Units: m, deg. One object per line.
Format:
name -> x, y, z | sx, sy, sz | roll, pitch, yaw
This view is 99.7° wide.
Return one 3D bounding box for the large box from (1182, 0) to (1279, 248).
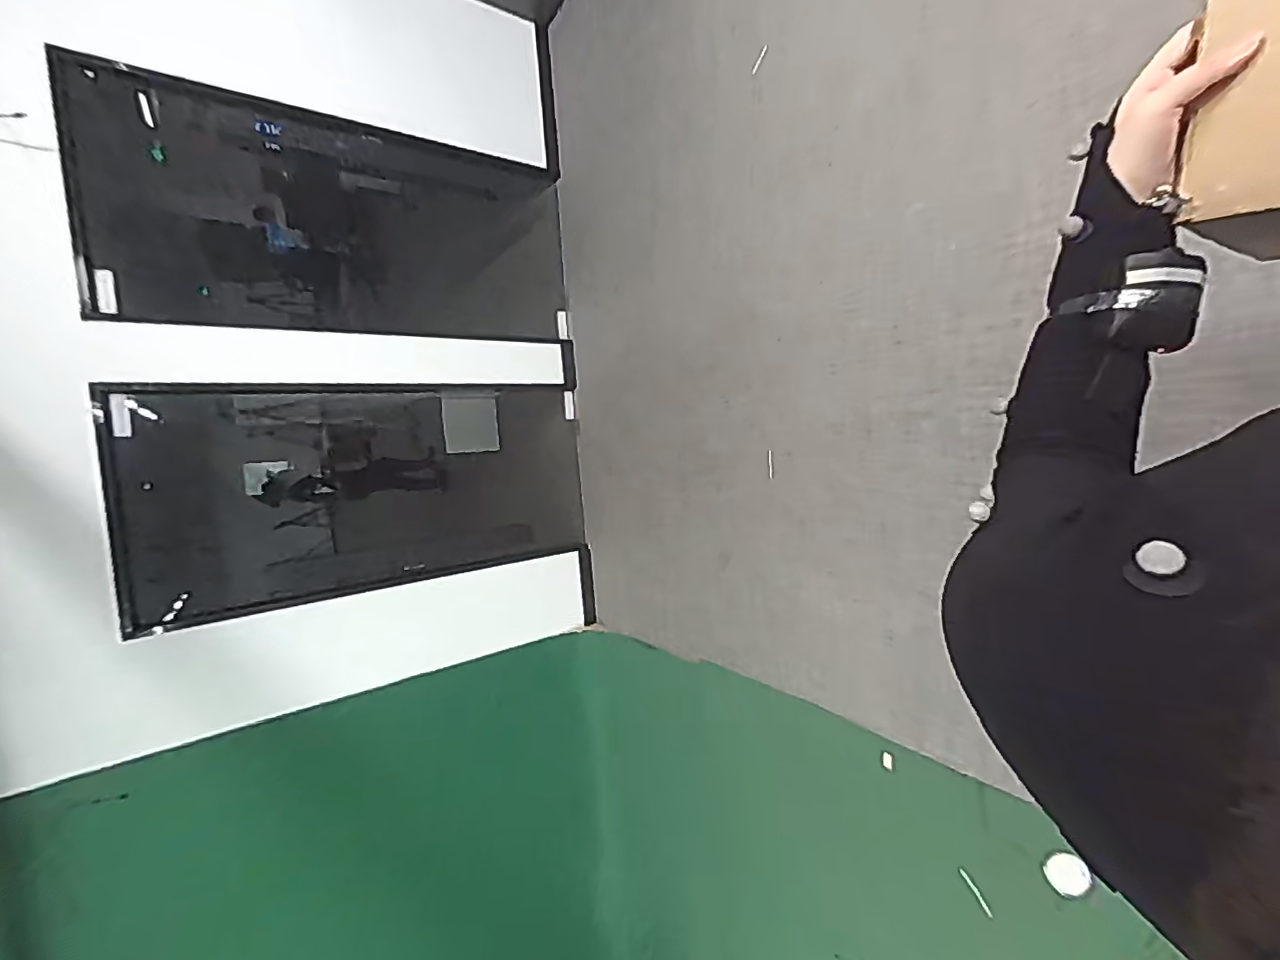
large box -> 0.635, -0.339, 0.293 | 0.408, 0.320, 0.320 | 15, 110, 56
